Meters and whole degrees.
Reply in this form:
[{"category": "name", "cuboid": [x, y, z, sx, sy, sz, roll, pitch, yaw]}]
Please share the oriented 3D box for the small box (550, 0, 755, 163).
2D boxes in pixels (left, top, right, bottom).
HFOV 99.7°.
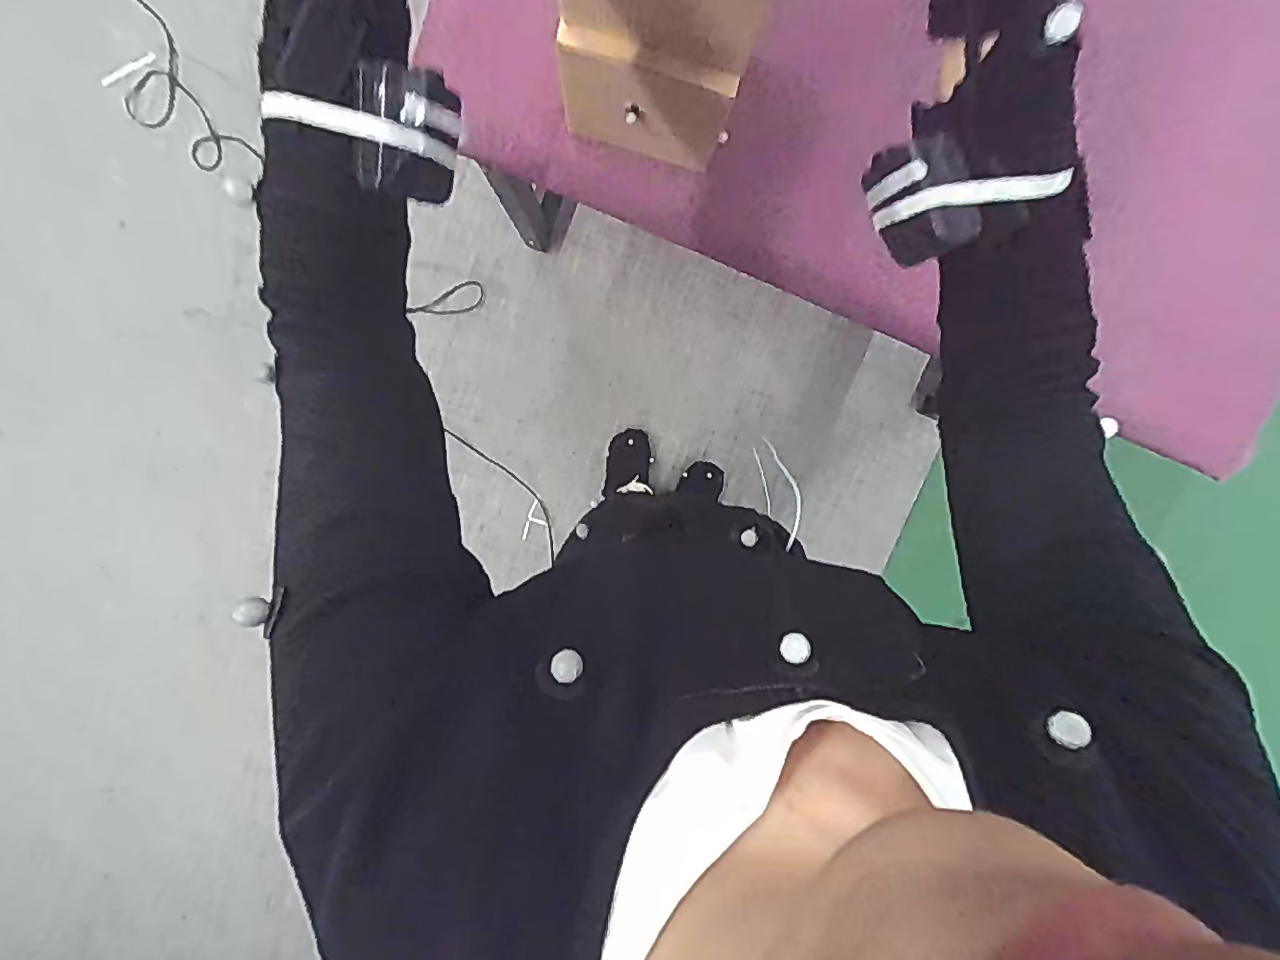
[{"category": "small box", "cuboid": [0.015, -0.473, 0.578, 0.179, 0.176, 0.168, 15, 97, -5]}]
